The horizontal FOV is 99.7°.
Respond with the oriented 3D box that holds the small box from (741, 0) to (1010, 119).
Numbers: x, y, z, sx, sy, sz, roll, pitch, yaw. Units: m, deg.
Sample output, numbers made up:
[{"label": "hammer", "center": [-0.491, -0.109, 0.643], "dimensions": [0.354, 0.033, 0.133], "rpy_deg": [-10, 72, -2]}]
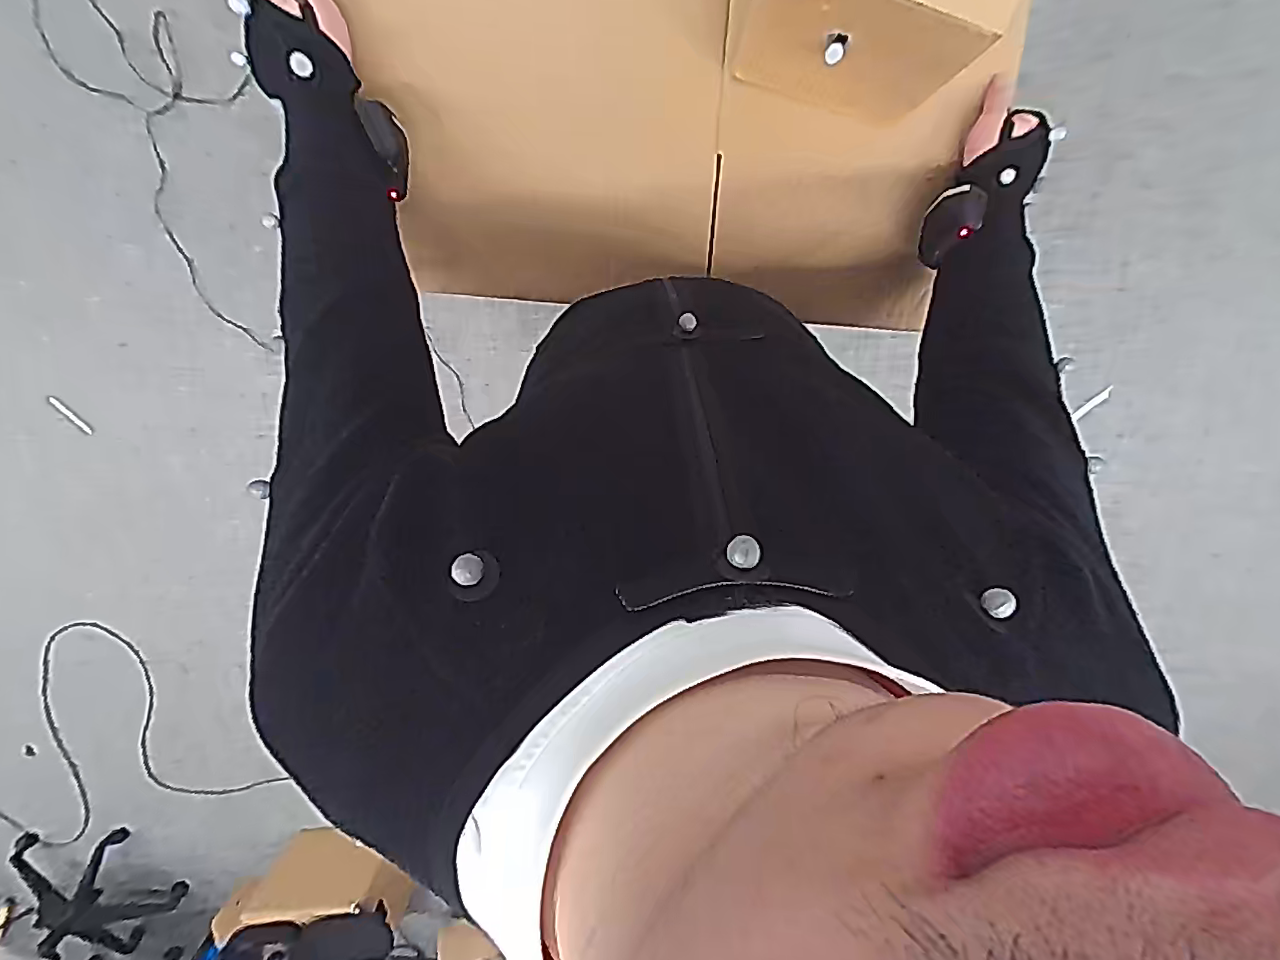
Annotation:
[{"label": "small box", "center": [0.200, -0.444, 0.456], "dimensions": [0.179, 0.176, 0.168], "rpy_deg": [14, 102, -5]}]
